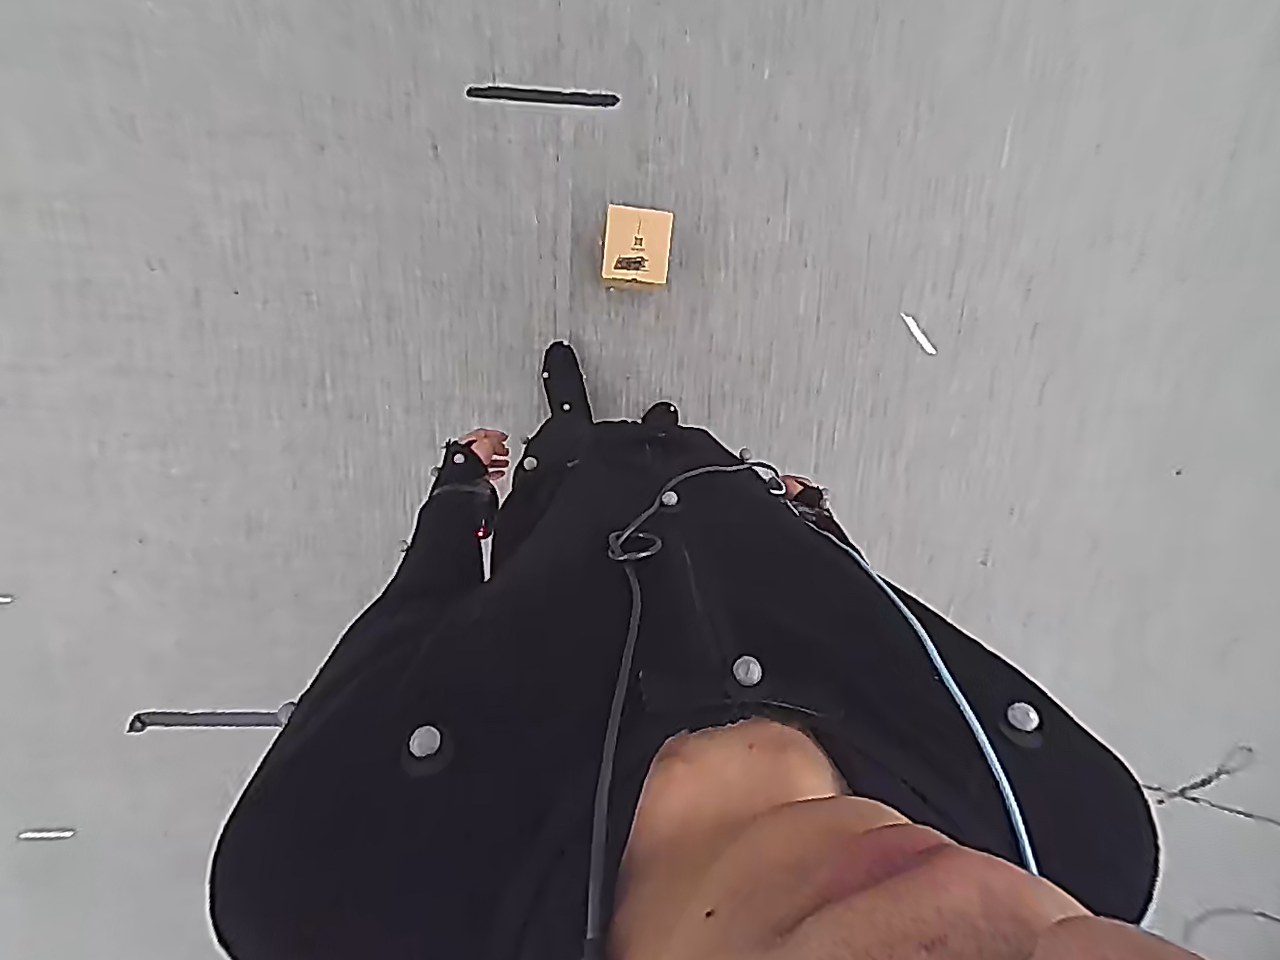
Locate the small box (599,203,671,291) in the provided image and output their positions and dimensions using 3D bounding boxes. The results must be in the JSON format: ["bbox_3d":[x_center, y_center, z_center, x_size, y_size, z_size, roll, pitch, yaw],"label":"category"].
[{"bbox_3d":[-0.018,-0.604,1.426,0.168,0.176,0.179,5,101,-6],"label":"small box"}]
